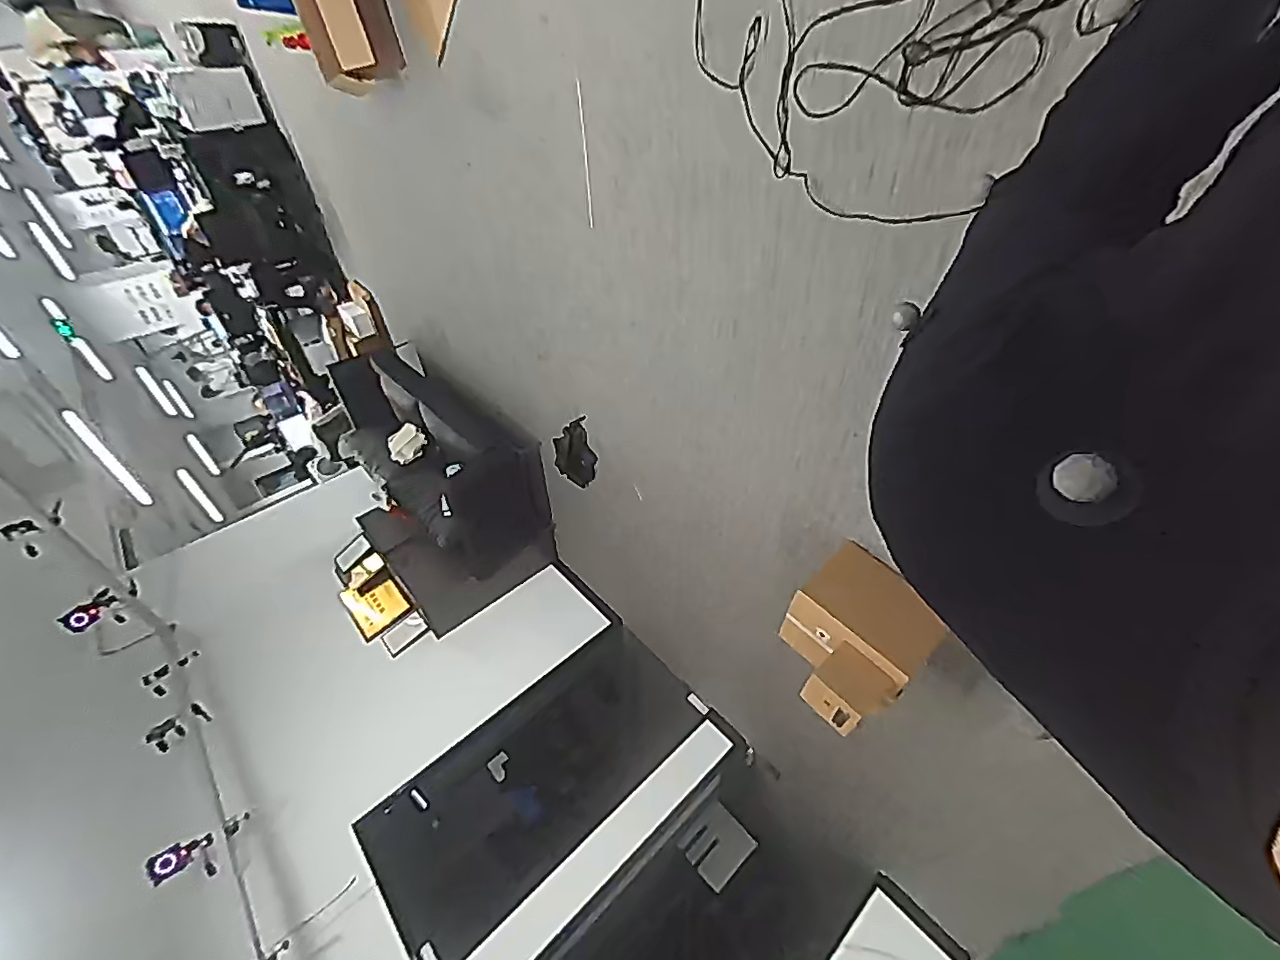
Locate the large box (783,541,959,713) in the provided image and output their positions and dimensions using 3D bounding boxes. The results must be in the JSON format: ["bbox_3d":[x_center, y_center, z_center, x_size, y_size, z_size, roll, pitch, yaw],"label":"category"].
[{"bbox_3d":[0.765,0.489,1.835,0.408,0.320,0.320,41,146,31],"label":"large box"}]
